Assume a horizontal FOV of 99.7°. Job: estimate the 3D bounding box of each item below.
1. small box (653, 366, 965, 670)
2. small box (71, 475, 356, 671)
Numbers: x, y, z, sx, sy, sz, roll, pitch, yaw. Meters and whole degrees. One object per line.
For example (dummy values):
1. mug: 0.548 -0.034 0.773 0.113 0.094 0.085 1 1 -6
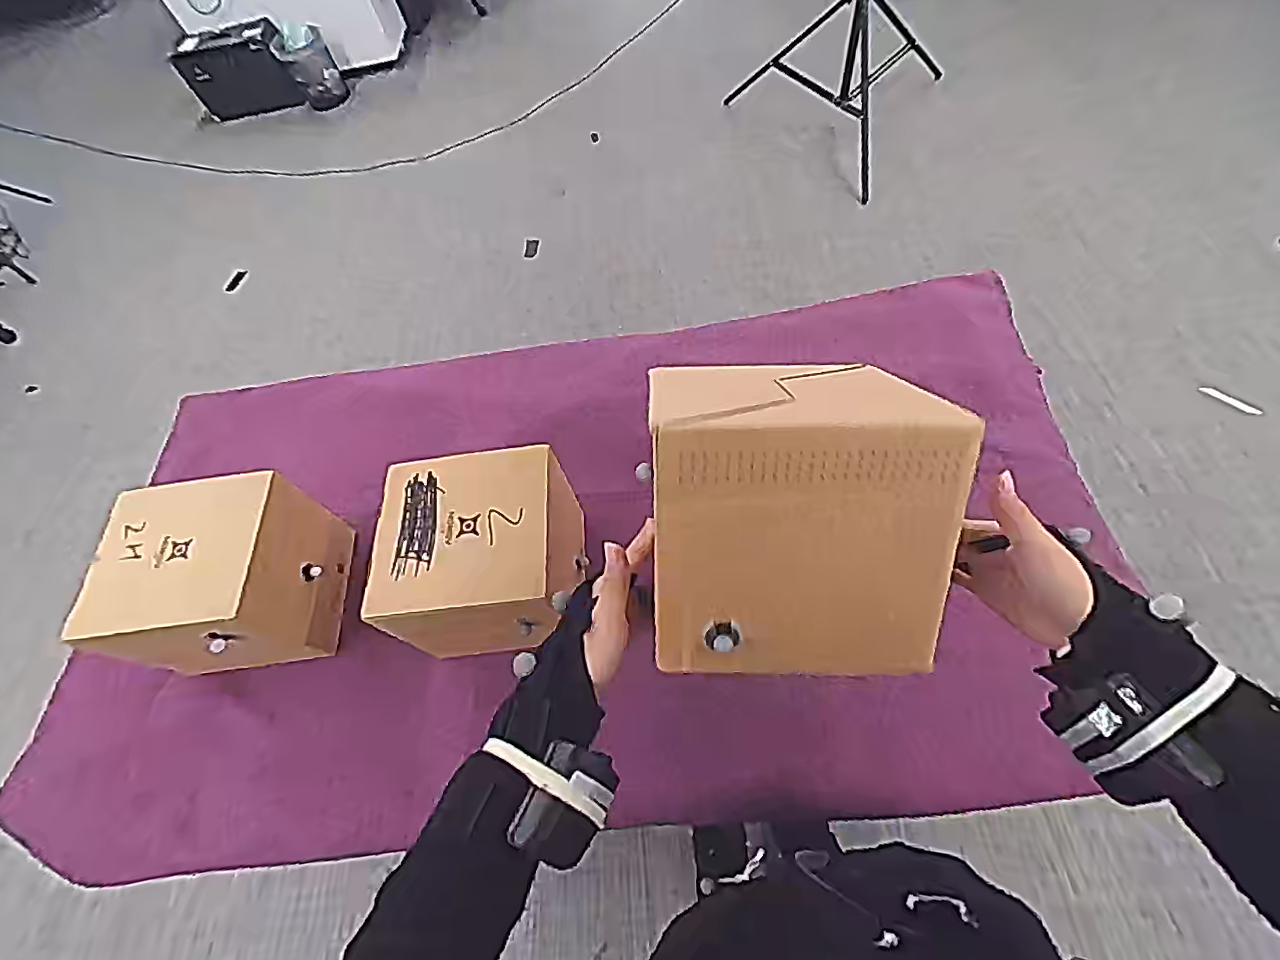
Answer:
1. small box: 0.099 0.013 0.390 0.179 0.176 0.168 0 19 2
2. small box: -0.461 0.114 0.624 0.179 0.176 0.168 -8 59 2
